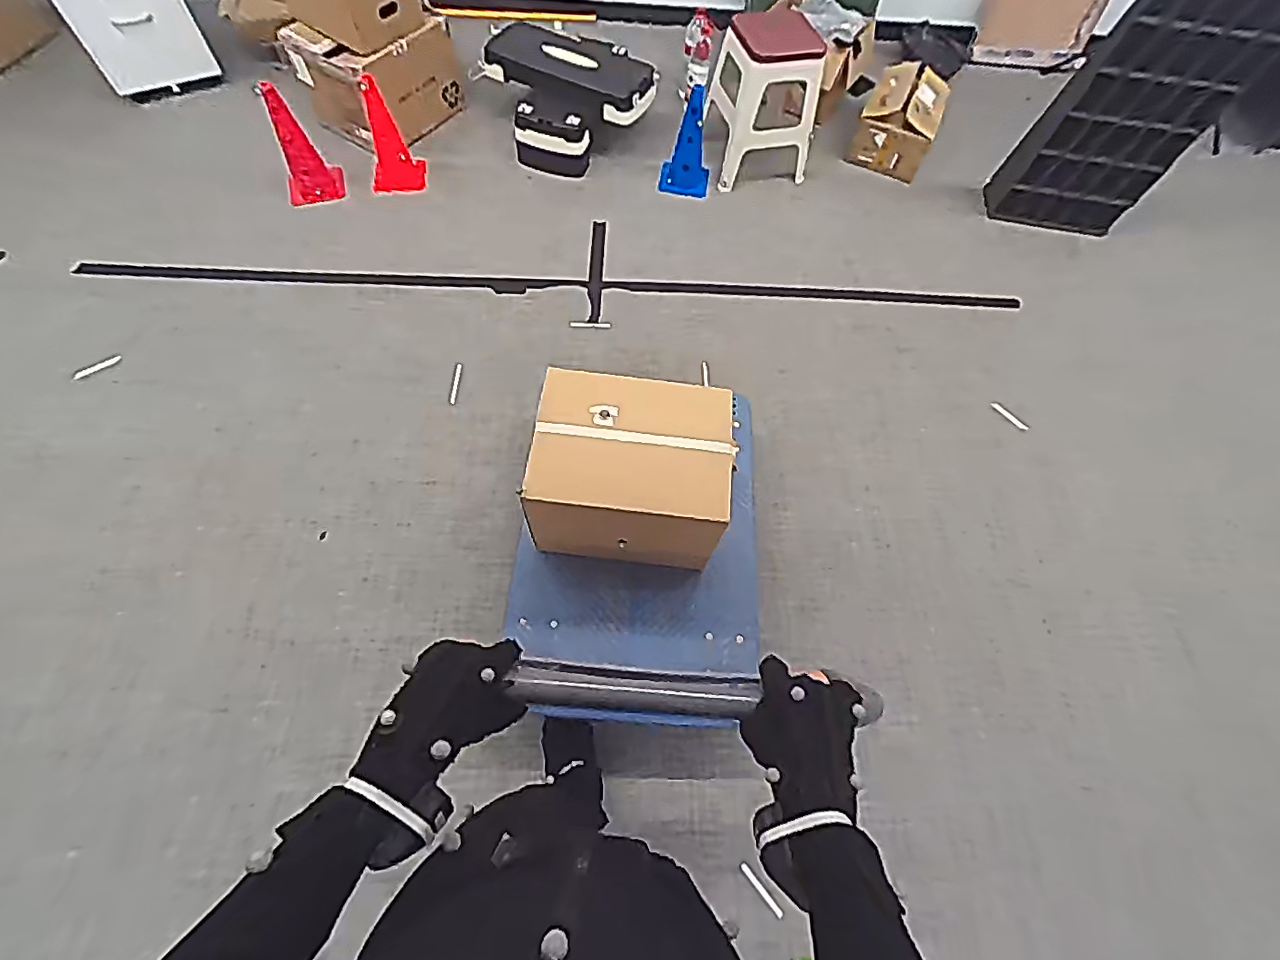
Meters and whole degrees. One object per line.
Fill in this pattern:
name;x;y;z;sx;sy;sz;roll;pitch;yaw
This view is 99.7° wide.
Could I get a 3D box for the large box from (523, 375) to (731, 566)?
large box;-0.020;-0.007;1.235;0.408;0.320;0.320;7;63;0
